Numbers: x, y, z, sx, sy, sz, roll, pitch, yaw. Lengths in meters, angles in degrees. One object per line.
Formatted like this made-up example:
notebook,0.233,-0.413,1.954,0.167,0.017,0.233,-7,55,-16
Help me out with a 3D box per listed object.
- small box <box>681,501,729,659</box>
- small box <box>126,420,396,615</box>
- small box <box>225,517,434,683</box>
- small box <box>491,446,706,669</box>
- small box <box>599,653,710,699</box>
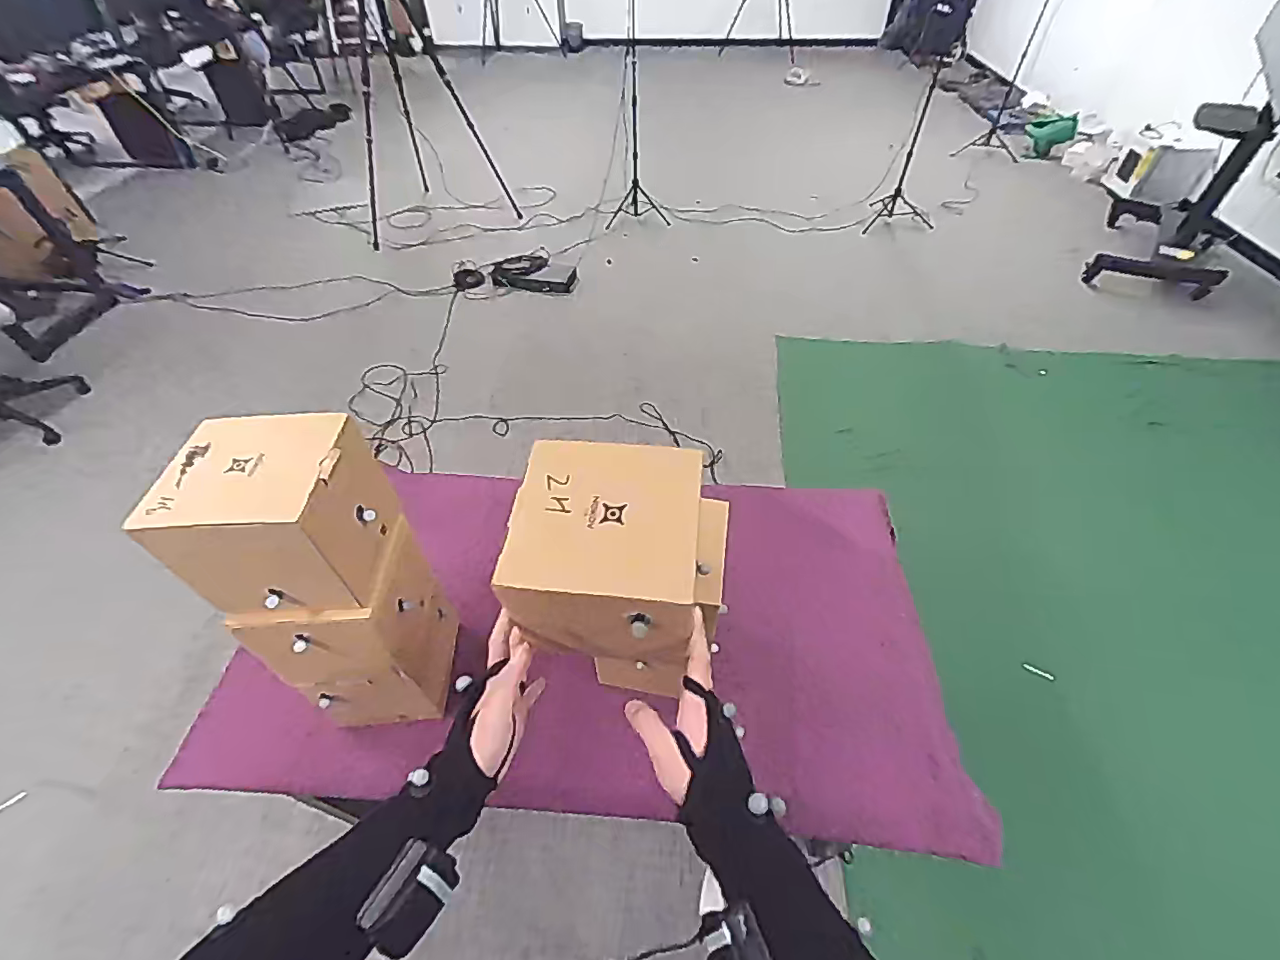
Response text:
small box,0.027,0.138,0.772,0.179,0.176,0.168,7,50,7
small box,-0.416,0.046,0.639,0.179,0.176,0.168,-2,47,-1
small box,-0.406,0.168,0.749,0.179,0.176,0.168,-3,47,-1
small box,-0.028,0.085,0.561,0.179,0.176,0.168,4,54,7
small box,0.031,0.244,0.896,0.179,0.176,0.168,8,49,7
